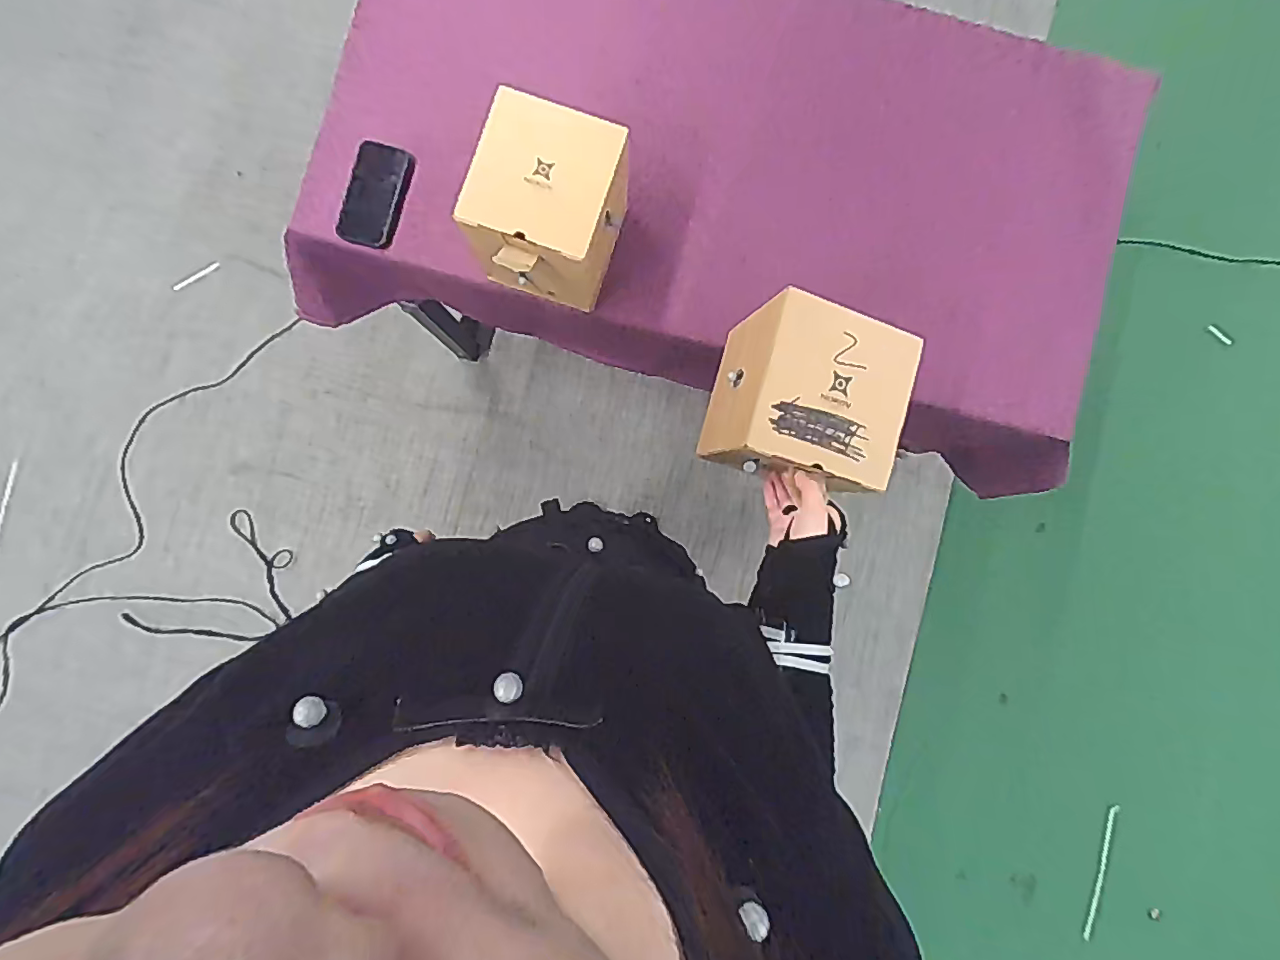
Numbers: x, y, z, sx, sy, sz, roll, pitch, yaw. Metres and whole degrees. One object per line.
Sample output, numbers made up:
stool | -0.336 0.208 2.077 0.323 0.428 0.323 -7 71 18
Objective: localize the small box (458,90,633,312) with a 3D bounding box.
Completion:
small box | -0.118 -0.356 0.724 0.168 0.176 0.179 19 87 -2
